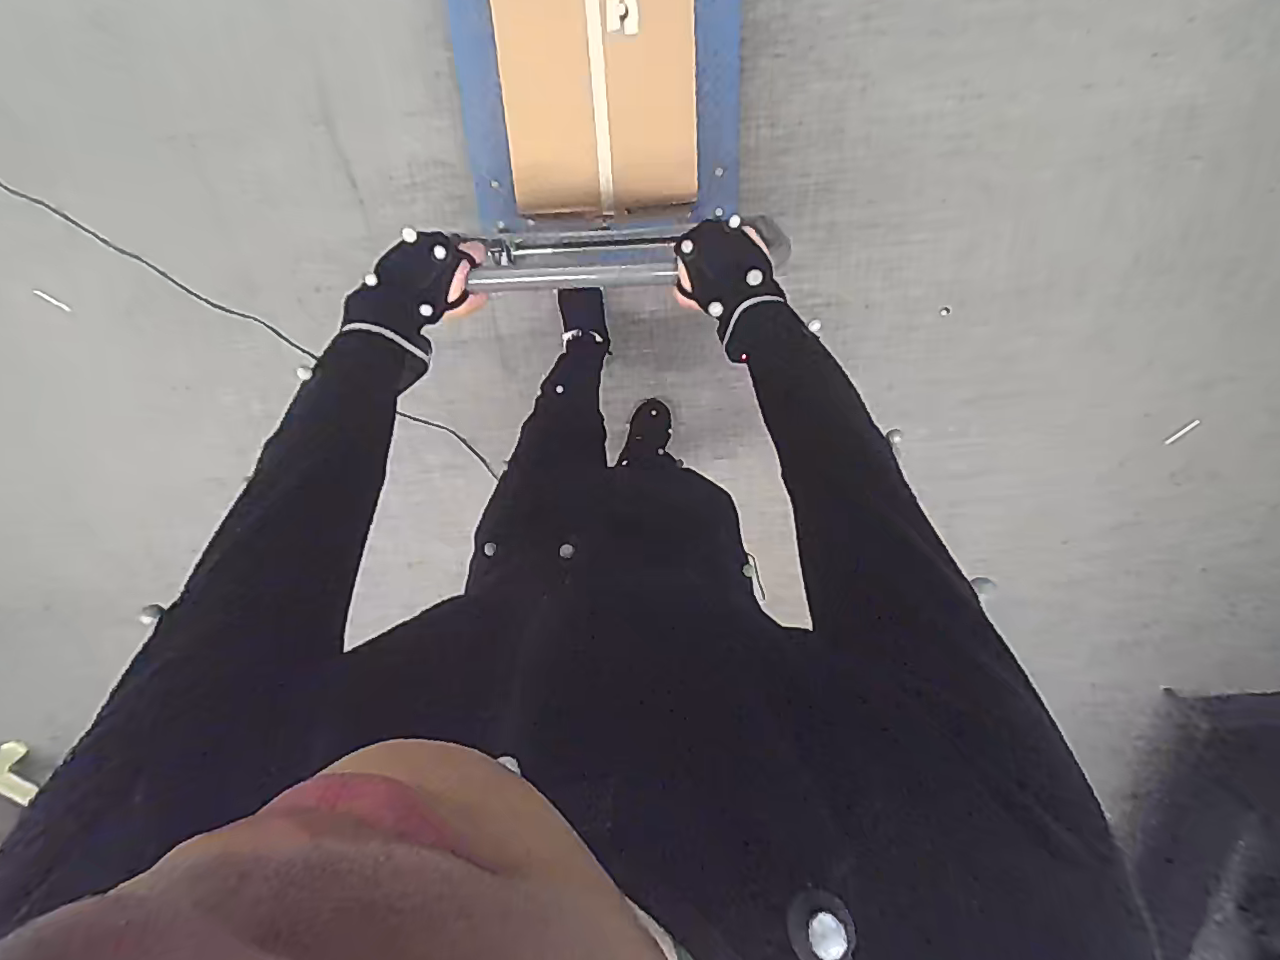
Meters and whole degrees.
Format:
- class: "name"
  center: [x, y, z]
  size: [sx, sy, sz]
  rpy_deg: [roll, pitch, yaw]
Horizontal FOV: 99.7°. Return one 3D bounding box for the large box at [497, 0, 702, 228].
- class: "large box"
  center: [-0.057, -0.706, 0.998]
  size: [0.320, 0.320, 0.408]
  rpy_deg: [-3, 111, 2]
